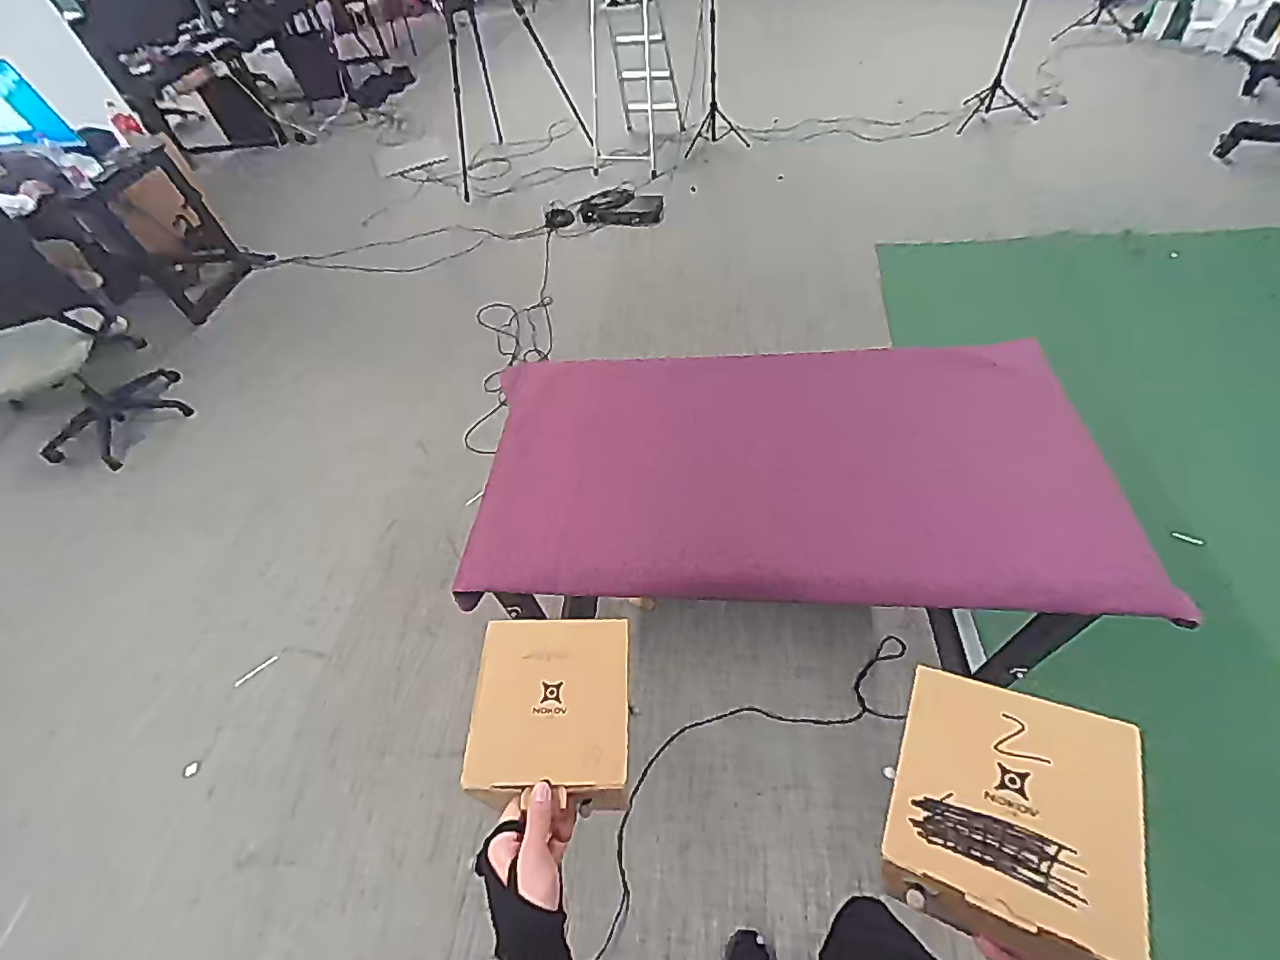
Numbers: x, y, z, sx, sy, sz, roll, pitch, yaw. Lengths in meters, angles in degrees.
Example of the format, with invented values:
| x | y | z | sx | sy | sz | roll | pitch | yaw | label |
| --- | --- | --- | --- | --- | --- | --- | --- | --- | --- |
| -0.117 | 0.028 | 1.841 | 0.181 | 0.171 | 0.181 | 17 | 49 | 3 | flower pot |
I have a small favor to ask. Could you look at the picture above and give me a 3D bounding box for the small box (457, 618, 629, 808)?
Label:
| x | y | z | sx | sy | sz | roll | pitch | yaw | label |
| --- | --- | --- | --- | --- | --- | --- | --- | --- | --- |
| -0.098 | 0.280 | 0.641 | 0.168 | 0.176 | 0.179 | 0 | 51 | 0 | small box |
